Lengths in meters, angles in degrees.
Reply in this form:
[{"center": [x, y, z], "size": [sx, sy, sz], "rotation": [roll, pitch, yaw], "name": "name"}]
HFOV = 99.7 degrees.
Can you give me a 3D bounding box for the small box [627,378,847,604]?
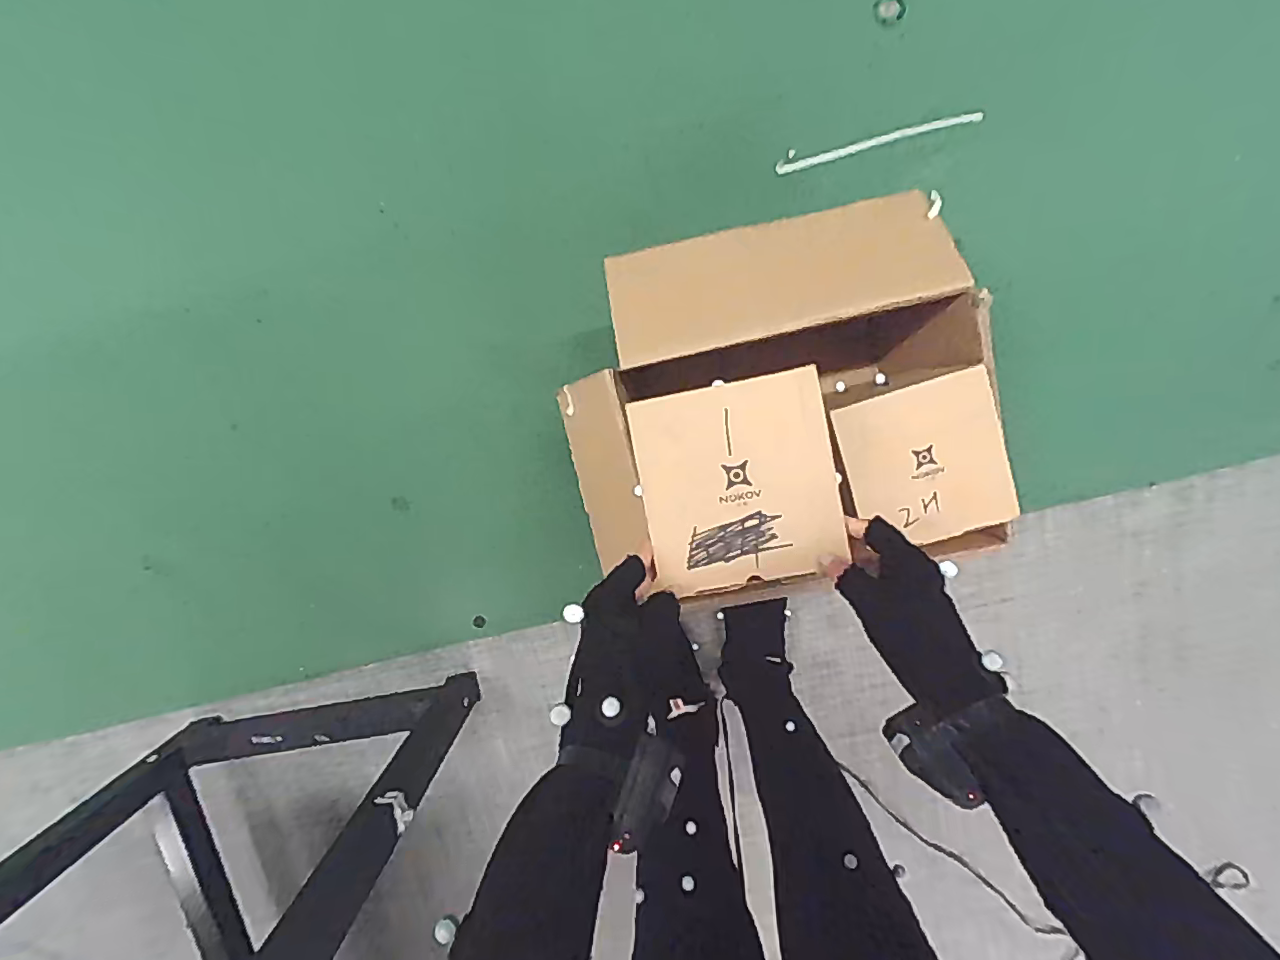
[{"center": [0.092, 0.008, 0.543], "size": [0.168, 0.176, 0.179], "rotation": [-10, 91, 6], "name": "small box"}]
